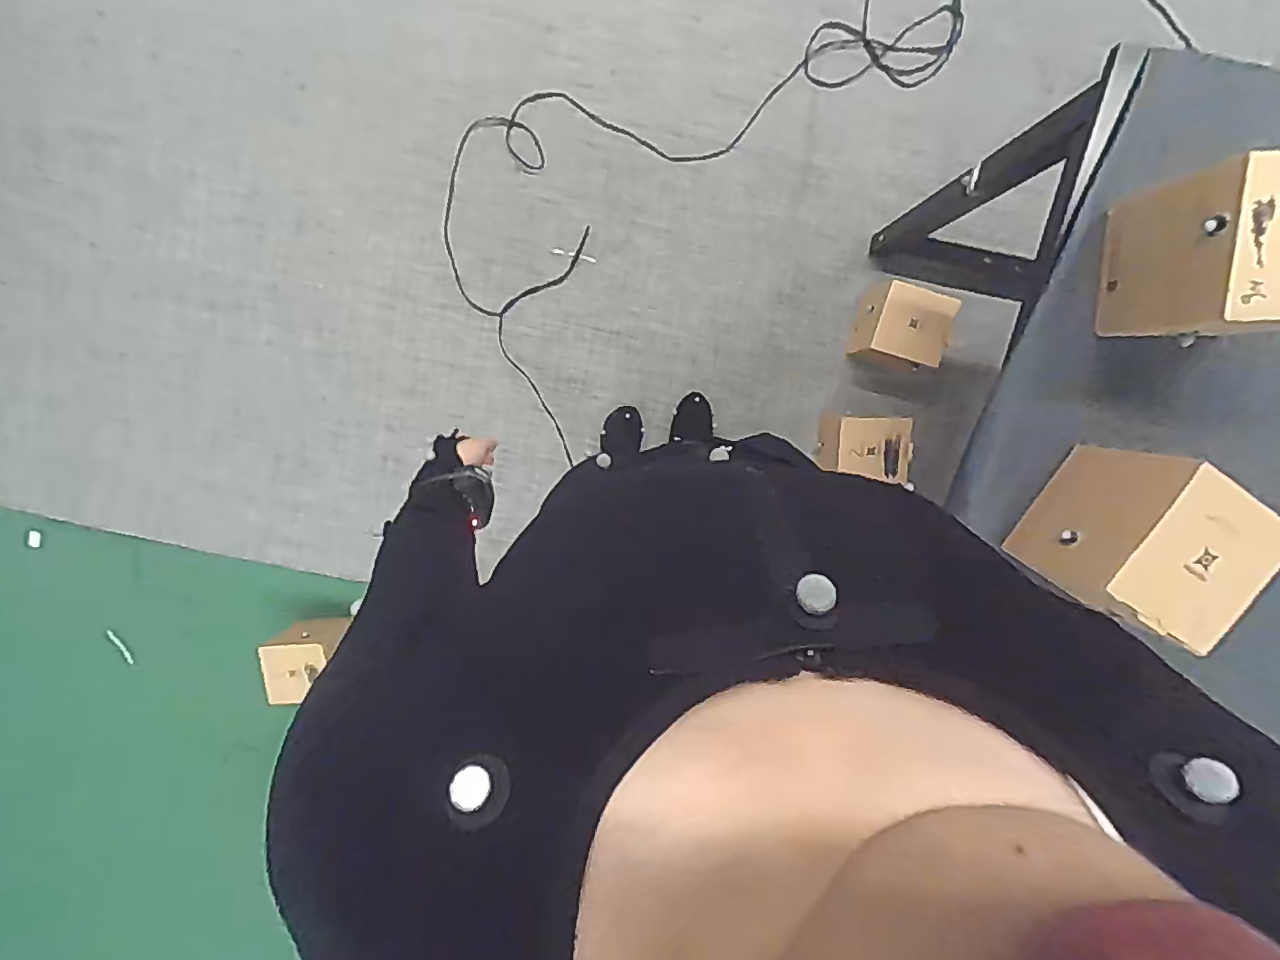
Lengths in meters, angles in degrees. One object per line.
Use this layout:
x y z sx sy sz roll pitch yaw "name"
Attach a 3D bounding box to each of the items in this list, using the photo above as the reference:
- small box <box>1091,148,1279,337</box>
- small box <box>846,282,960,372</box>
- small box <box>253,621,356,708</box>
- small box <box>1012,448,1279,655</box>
0.686 -0.261 0.628 0.179 0.176 0.168 -1 99 0 "small box"
0.644 -0.372 1.350 0.179 0.176 0.168 16 98 -3 "small box"
-0.897 0.493 1.468 0.179 0.176 0.168 -4 98 1 "small box"
0.620 0.077 0.679 0.168 0.176 0.179 31 96 -8 "small box"
